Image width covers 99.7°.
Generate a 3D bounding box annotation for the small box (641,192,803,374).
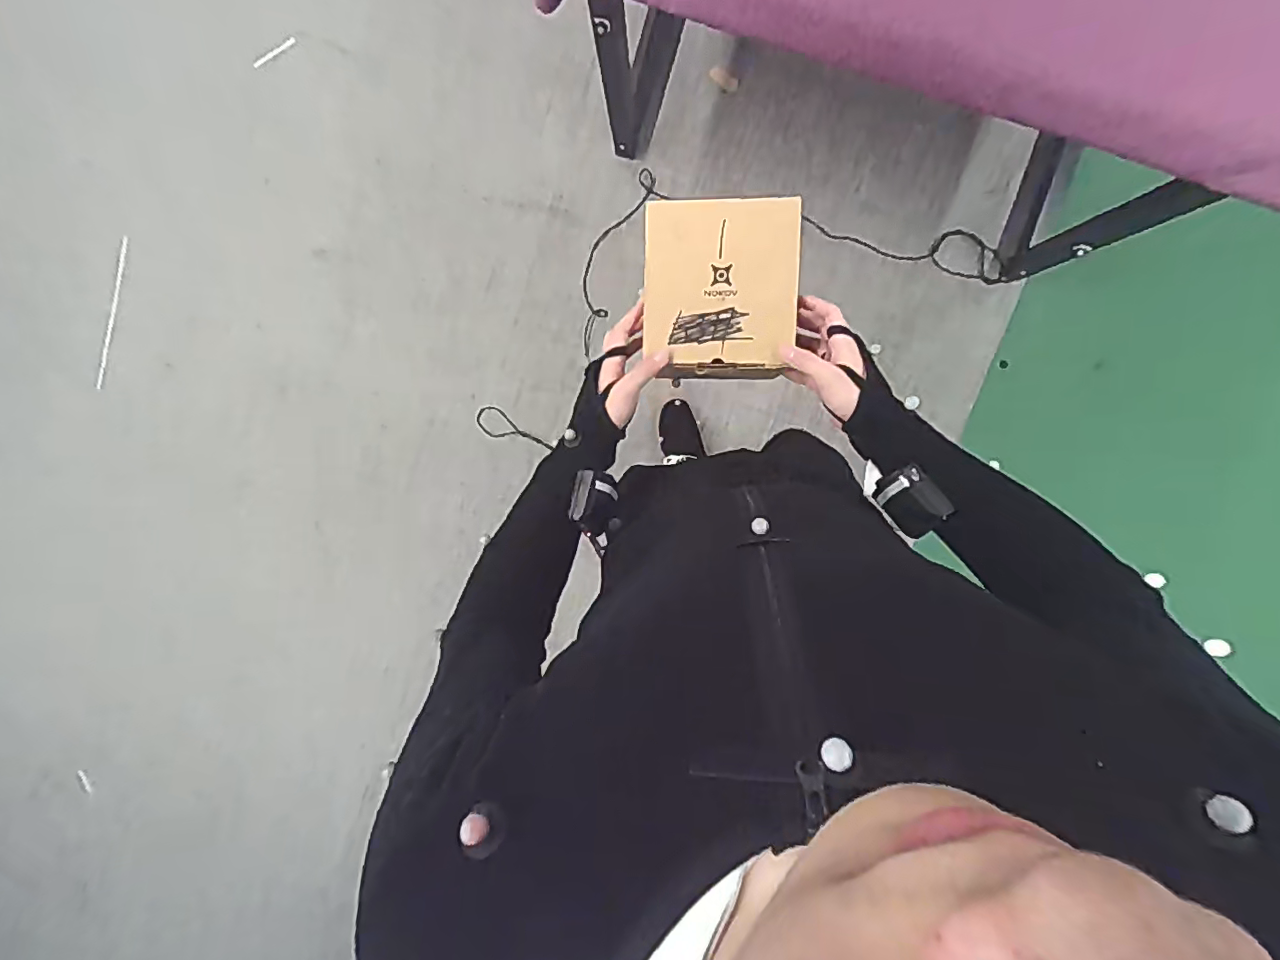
[{"bbox_3d":[0.094,-0.221,0.652,0.168,0.176,0.179,2,96,6],"label":"small box"}]
